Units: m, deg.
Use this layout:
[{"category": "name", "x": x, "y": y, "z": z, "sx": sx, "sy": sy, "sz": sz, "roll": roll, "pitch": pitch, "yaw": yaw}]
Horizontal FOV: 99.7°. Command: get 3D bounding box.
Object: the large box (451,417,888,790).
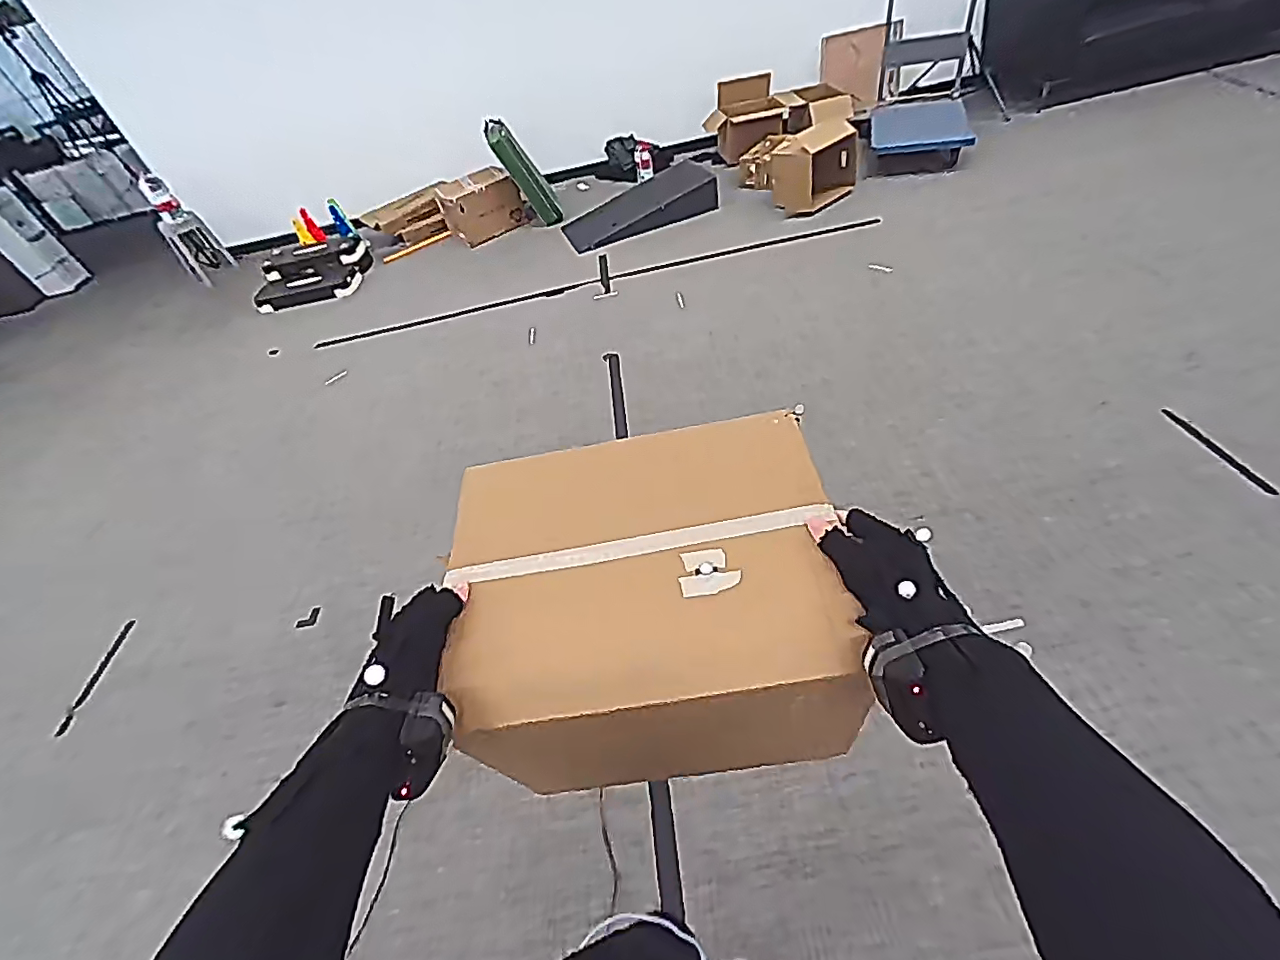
[{"category": "large box", "x": 0.028, "y": 0.166, "z": 0.684, "sx": 0.408, "sy": 0.320, "sz": 0.320, "roll": -10, "pitch": 51, "yaw": 3}]
